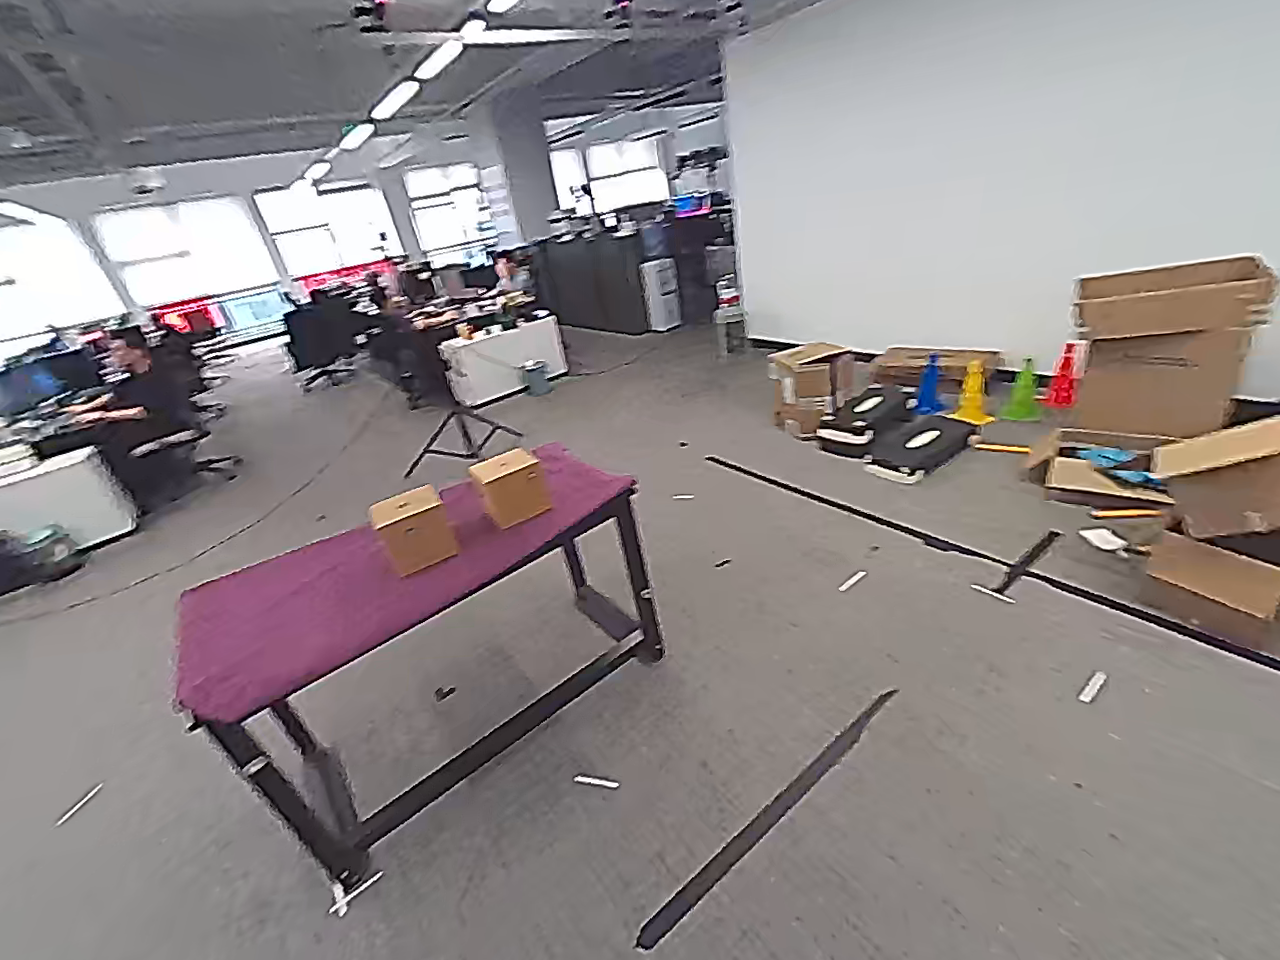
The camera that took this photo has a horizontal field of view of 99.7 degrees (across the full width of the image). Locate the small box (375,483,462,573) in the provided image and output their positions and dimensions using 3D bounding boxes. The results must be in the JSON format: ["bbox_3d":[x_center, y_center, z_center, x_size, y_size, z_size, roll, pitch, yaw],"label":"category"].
[{"bbox_3d":[-0.635,0.138,1.551,0.179,0.176,0.168,-22,30,-22],"label":"small box"}]

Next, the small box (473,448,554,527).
[{"bbox_3d":[-0.391,0.023,1.681,0.179,0.176,0.168,-25,29,-25],"label":"small box"}]
